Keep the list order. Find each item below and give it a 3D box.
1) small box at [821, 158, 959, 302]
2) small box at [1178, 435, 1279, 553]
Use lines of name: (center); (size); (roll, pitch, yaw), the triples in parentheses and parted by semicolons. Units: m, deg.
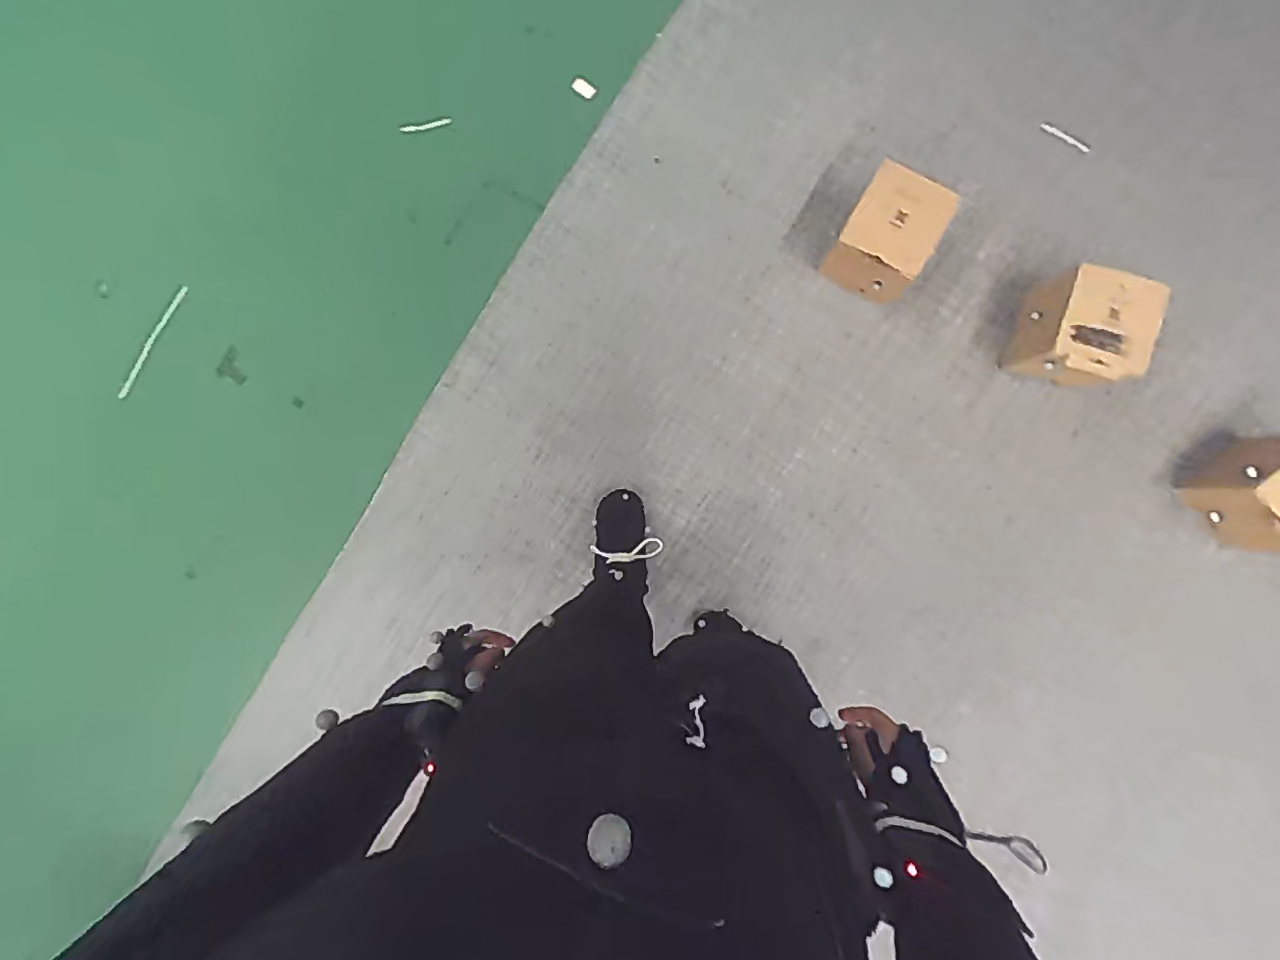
small box: (0.487, -0.488, 1.088); (0.168, 0.176, 0.179); (29, 91, 2)
small box: (1.223, 0.022, 1.040); (0.179, 0.176, 0.168); (-39, 88, 4)
